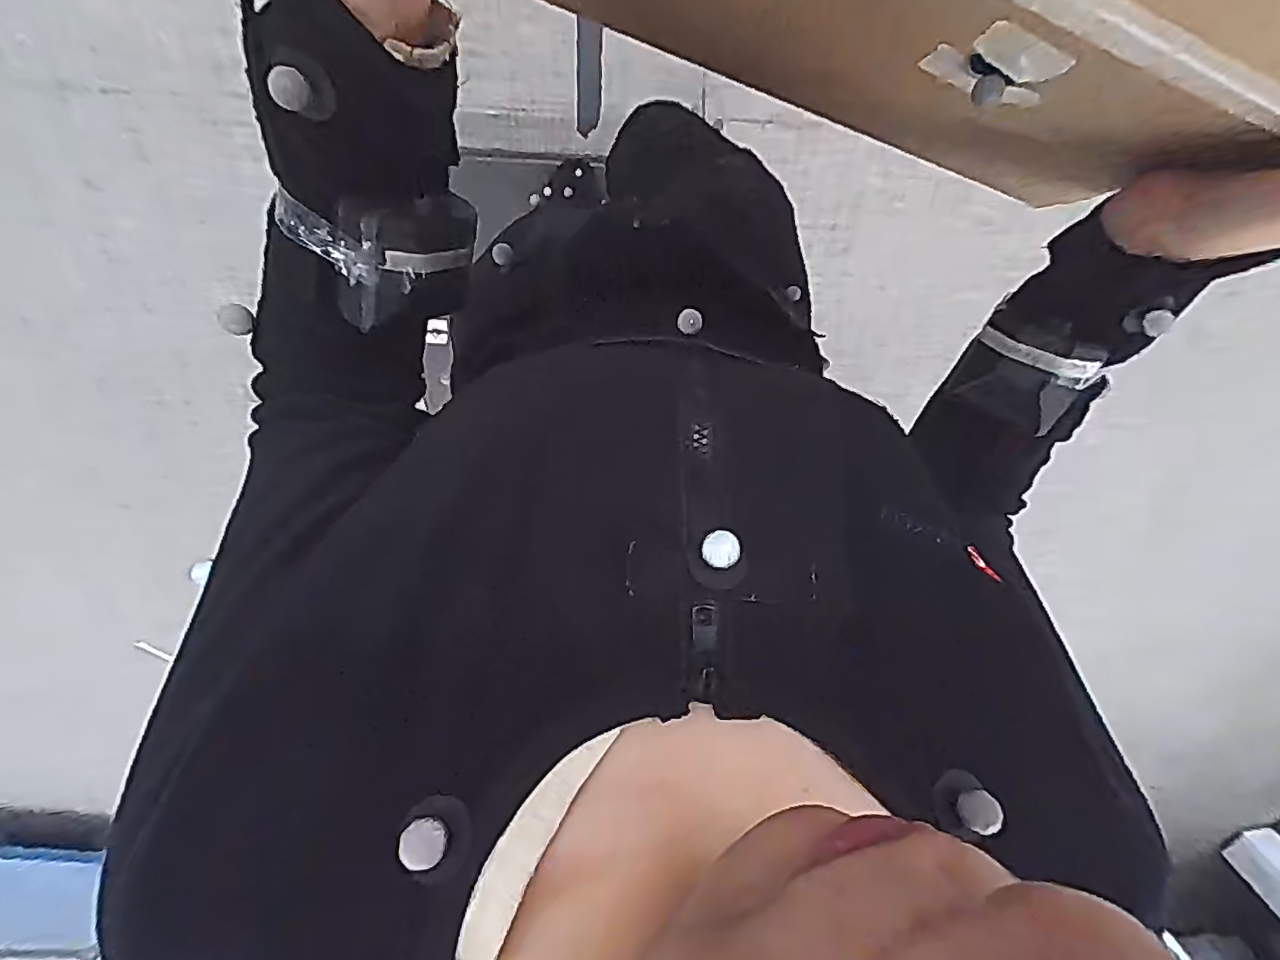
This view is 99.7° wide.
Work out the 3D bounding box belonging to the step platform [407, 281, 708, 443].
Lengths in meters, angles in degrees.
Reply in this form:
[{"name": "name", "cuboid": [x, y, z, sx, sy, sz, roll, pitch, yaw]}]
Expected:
[{"name": "step platform", "cuboid": [-0.184, -0.272, 1.288, 0.684, 0.204, 0.286, 5, 121, -10]}]
